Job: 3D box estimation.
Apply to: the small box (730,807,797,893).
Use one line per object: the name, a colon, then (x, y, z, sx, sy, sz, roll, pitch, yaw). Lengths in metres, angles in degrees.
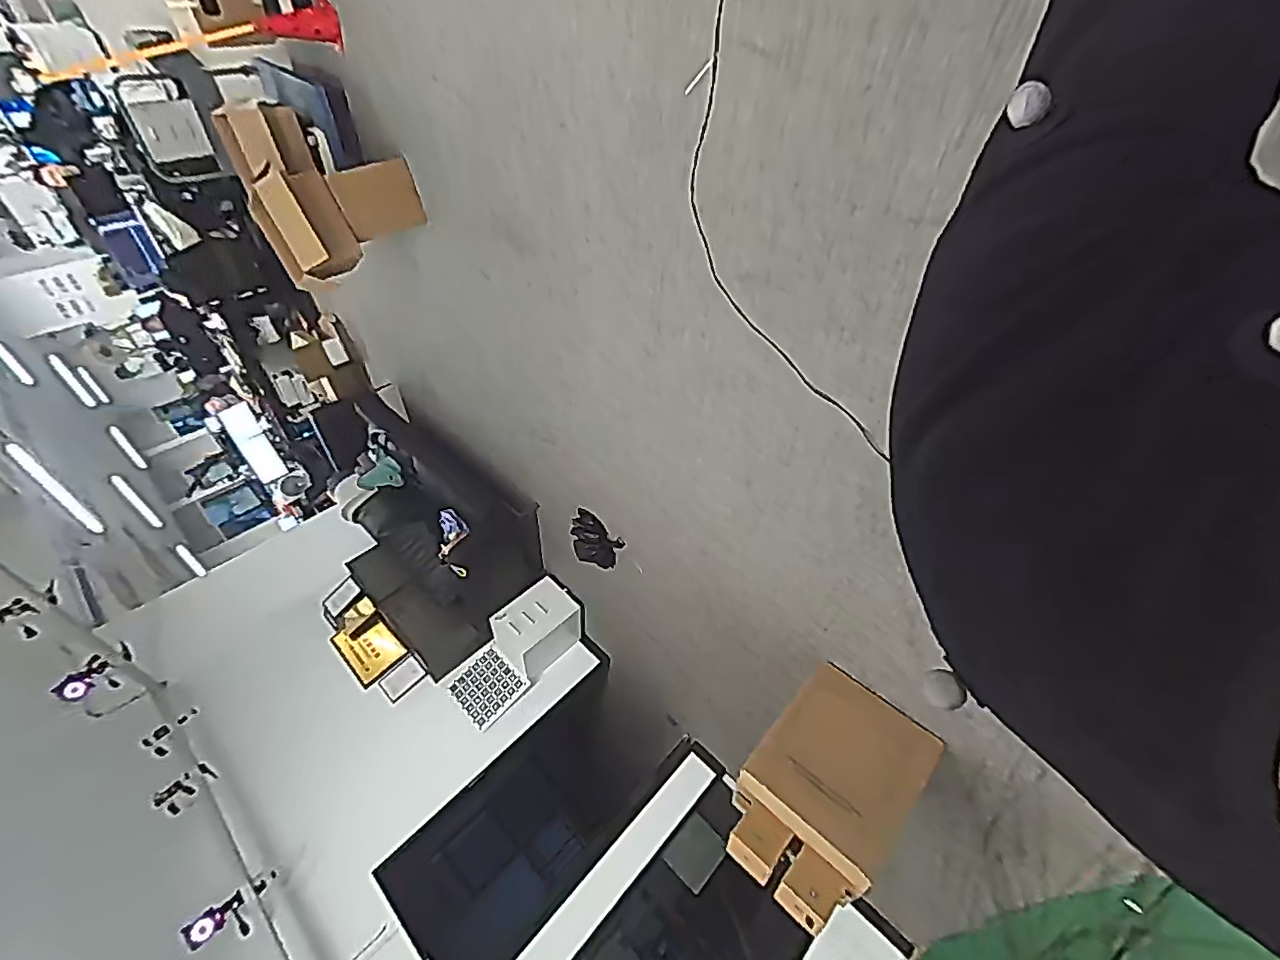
small box: (0.464, 1.387, 2.033, 0.179, 0.176, 0.168, 31, 134, 35)

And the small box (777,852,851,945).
small box: (0.618, 1.479, 1.916, 0.179, 0.176, 0.168, 31, 135, 34)
